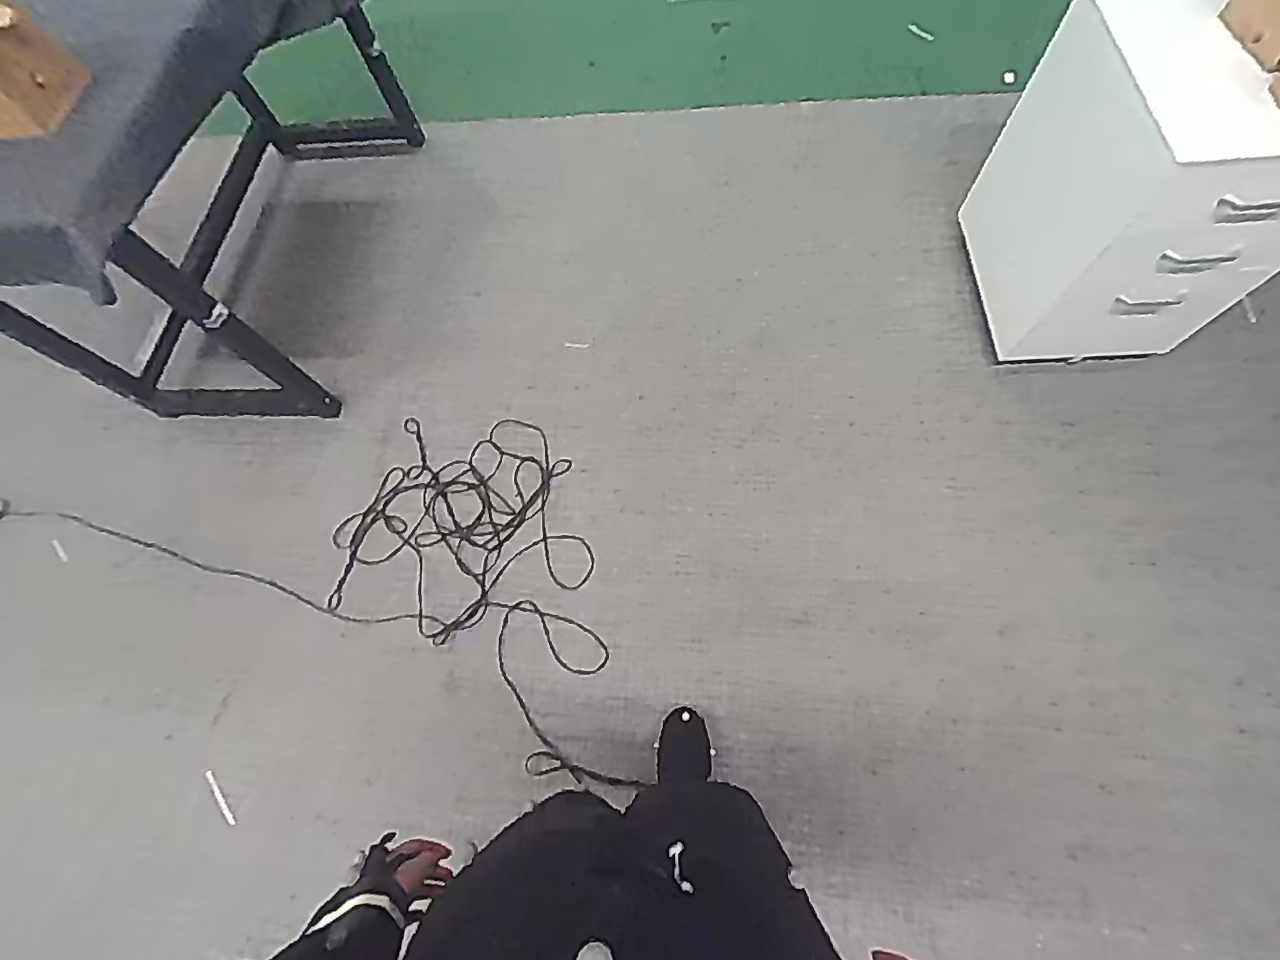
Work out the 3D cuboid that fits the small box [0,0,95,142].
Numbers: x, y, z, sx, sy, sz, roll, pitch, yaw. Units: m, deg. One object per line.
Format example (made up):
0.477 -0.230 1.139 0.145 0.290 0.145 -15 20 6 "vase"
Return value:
-1.135 -0.717 0.940 0.179 0.176 0.168 1 67 6 "small box"
